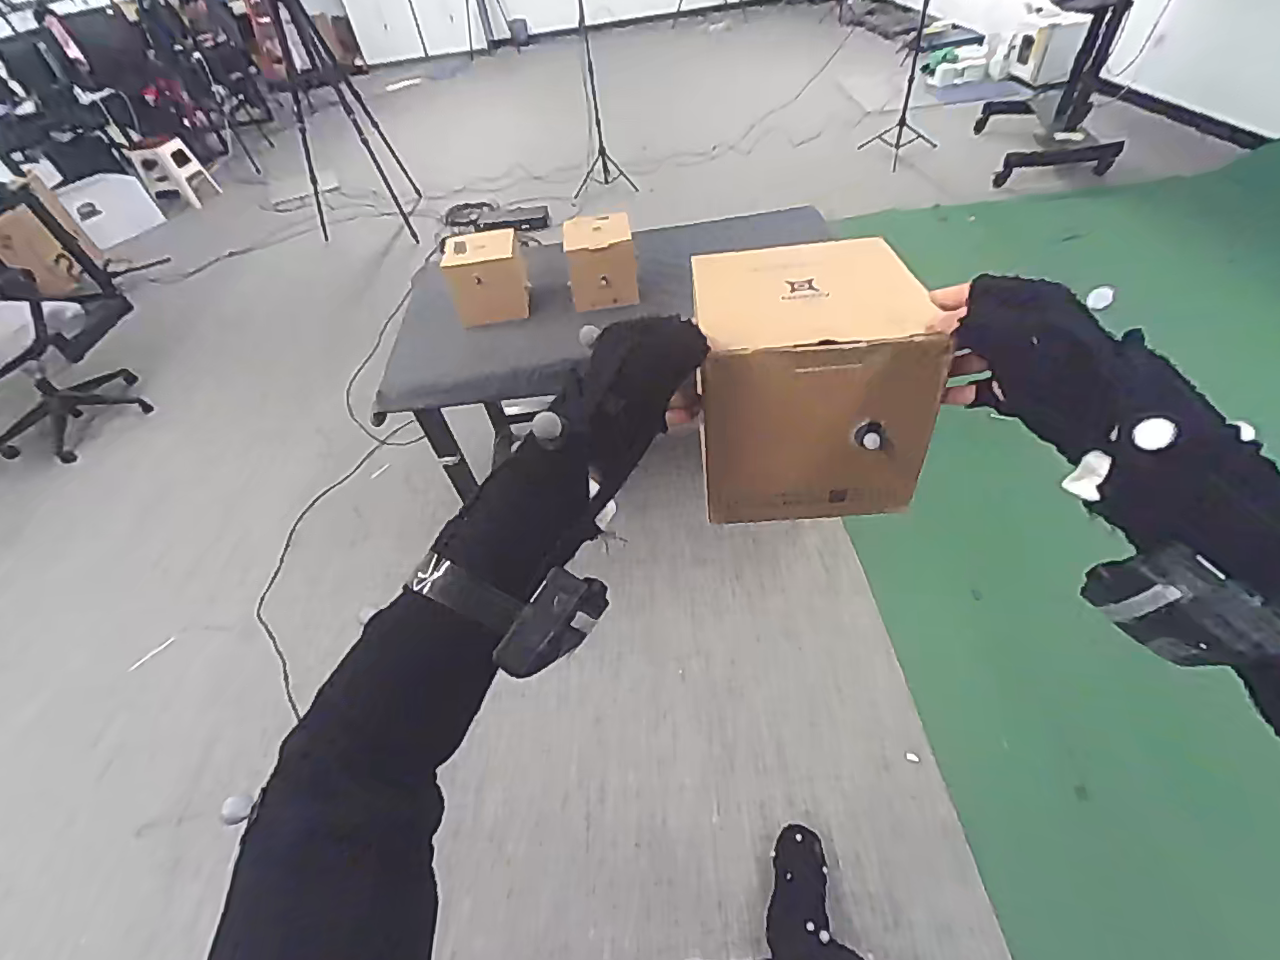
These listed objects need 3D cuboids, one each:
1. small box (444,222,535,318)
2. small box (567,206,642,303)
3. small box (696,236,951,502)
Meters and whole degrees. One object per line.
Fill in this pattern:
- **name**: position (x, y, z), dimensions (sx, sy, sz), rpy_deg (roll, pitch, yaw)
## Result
- **small box**: position (-0.379, -0.534, 1.388), dimensions (0.179, 0.176, 0.168), rpy_deg (-8, 48, -1)
- **small box**: position (-0.088, -0.569, 1.380), dimensions (0.168, 0.176, 0.179), rpy_deg (-7, 49, 1)
- **small box**: position (0.134, -0.094, 0.471), dimensions (0.168, 0.176, 0.179), rpy_deg (-1, 41, 5)
